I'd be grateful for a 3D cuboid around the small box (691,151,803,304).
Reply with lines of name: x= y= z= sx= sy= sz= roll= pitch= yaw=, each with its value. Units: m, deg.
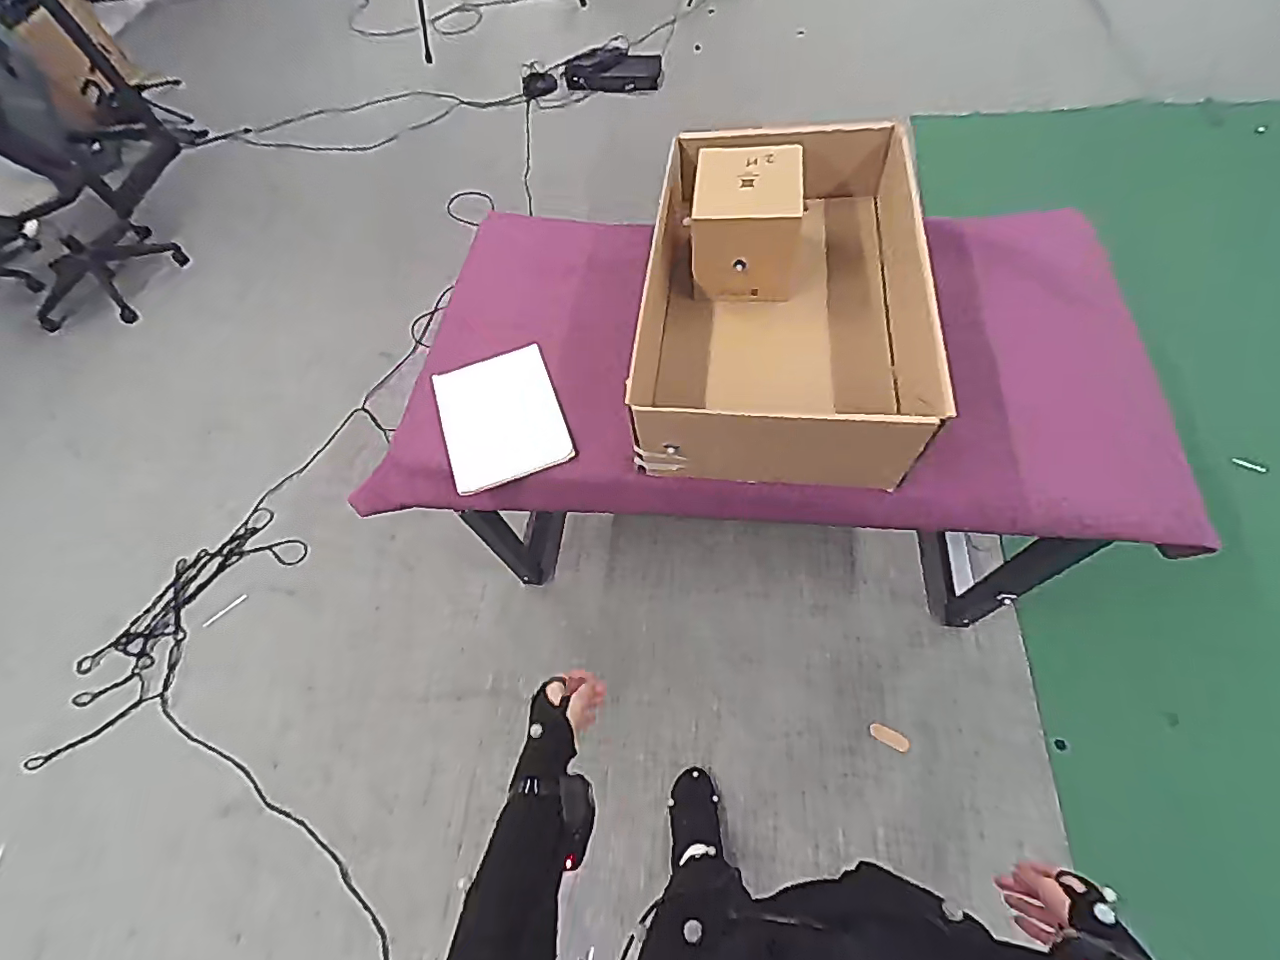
small box: x=0.180 y=-0.417 z=0.912 sx=0.168 sy=0.176 sz=0.179 roll=4 pitch=63 yaw=10
